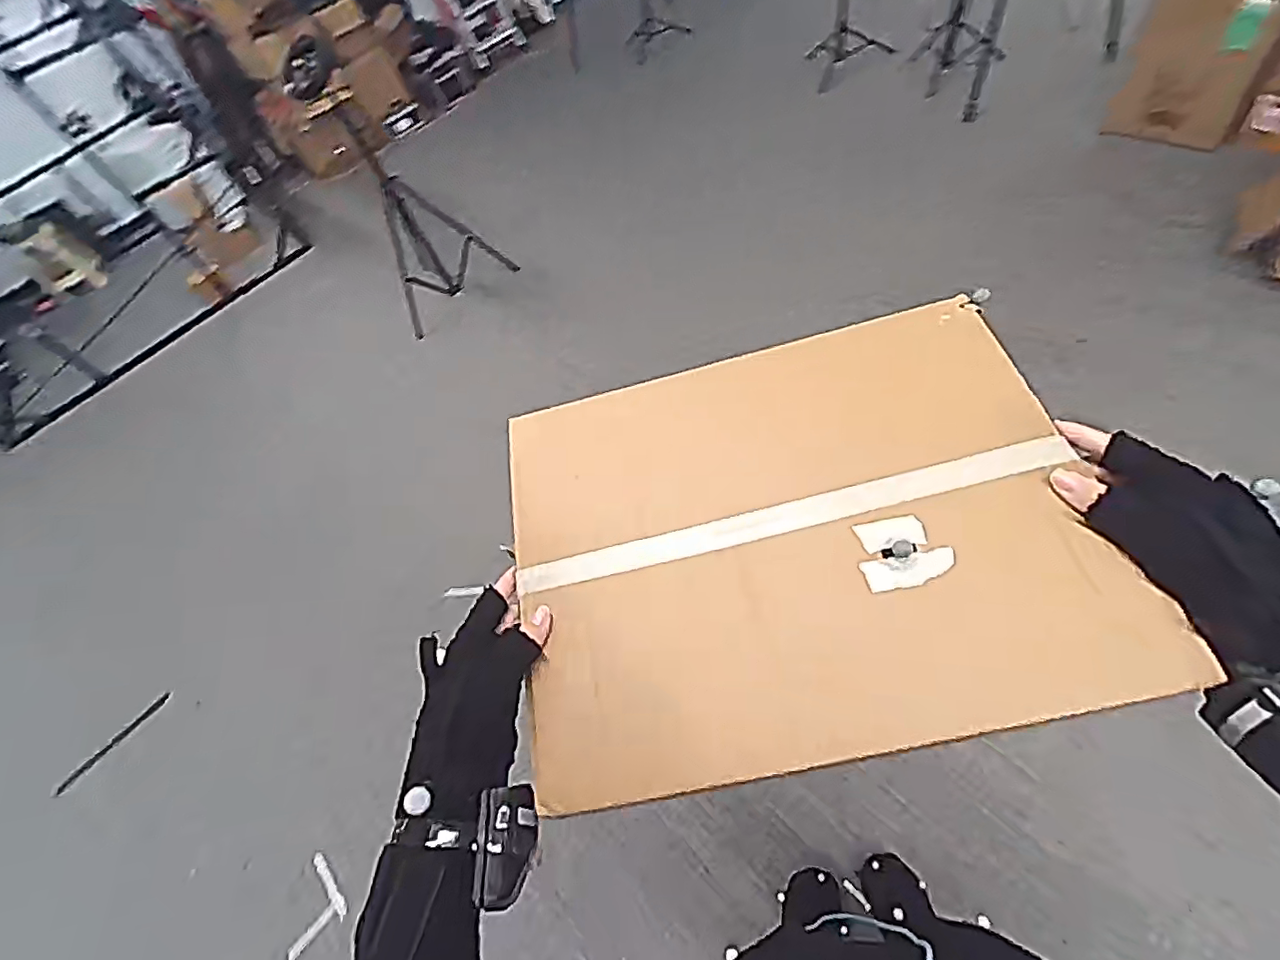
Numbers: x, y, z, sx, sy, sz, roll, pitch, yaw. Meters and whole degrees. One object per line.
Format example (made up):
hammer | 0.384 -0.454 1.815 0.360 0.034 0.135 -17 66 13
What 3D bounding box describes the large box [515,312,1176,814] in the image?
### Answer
large box | 0.131 0.104 0.538 0.408 0.320 0.320 -15 61 4
